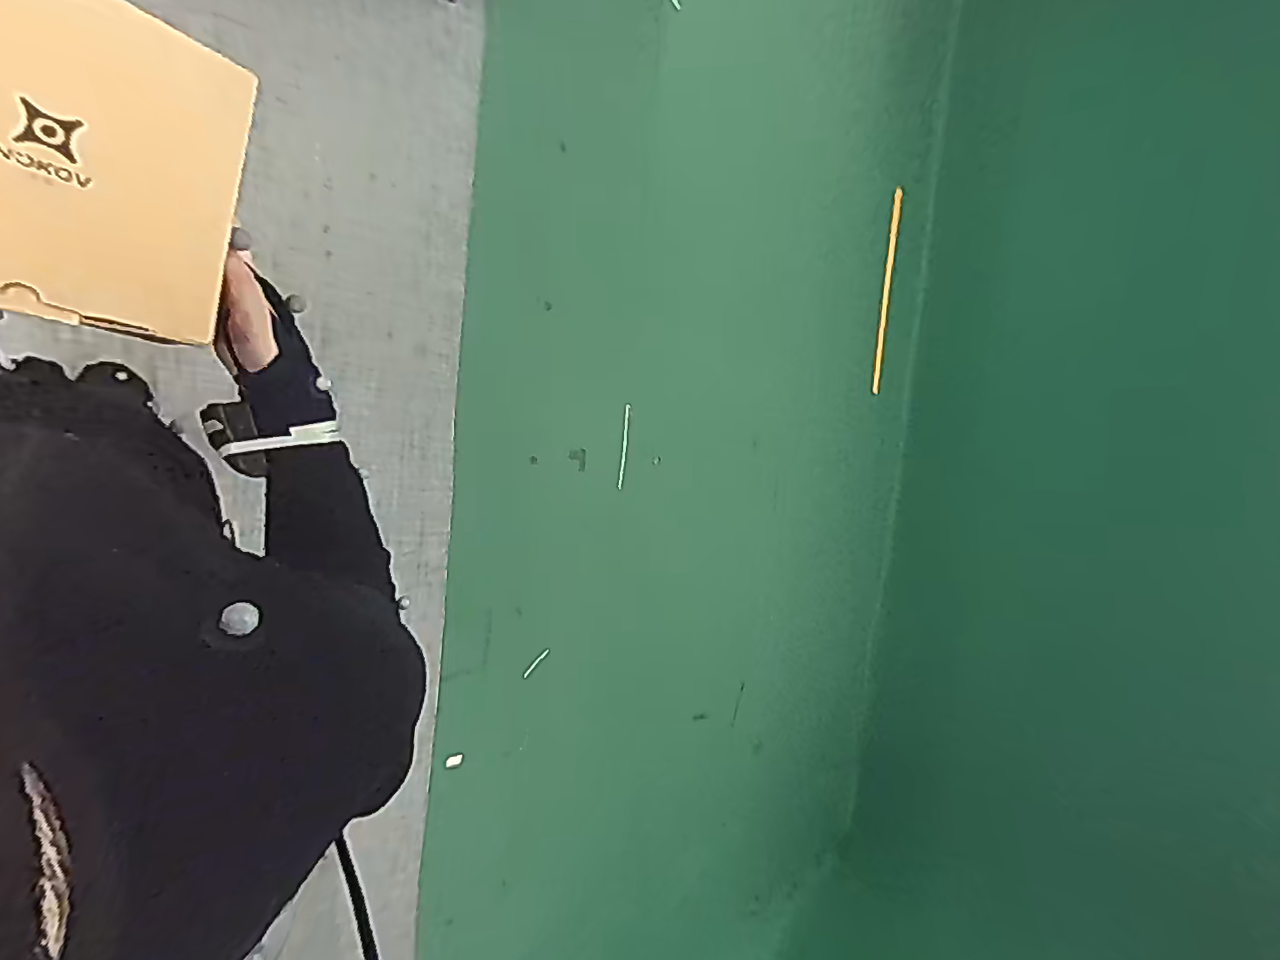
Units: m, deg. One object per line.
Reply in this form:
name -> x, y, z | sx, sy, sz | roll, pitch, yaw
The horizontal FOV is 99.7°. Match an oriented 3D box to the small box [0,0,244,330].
small box -> -0.365, -0.198, 0.316 | 0.168, 0.176, 0.179 | 8, 95, -50
